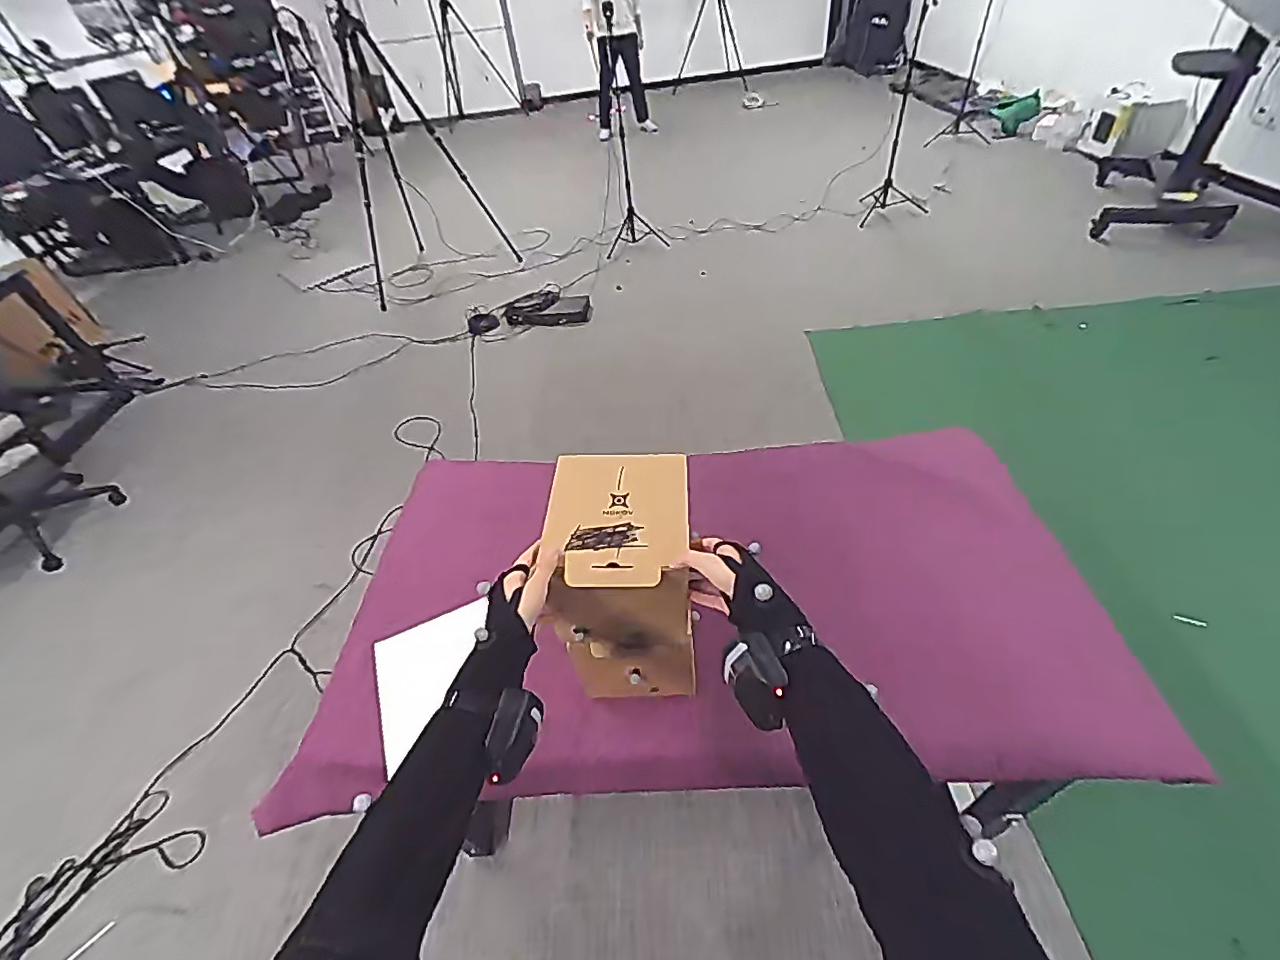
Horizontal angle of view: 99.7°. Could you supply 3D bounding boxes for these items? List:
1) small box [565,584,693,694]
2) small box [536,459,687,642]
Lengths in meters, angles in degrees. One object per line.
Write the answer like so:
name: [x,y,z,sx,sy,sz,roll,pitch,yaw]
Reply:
small box: [-0.009,0.210,0.816,0.168,0.176,0.179,-3,45,4]
small box: [-0.023,0.092,0.692,0.168,0.176,0.179,0,45,4]
